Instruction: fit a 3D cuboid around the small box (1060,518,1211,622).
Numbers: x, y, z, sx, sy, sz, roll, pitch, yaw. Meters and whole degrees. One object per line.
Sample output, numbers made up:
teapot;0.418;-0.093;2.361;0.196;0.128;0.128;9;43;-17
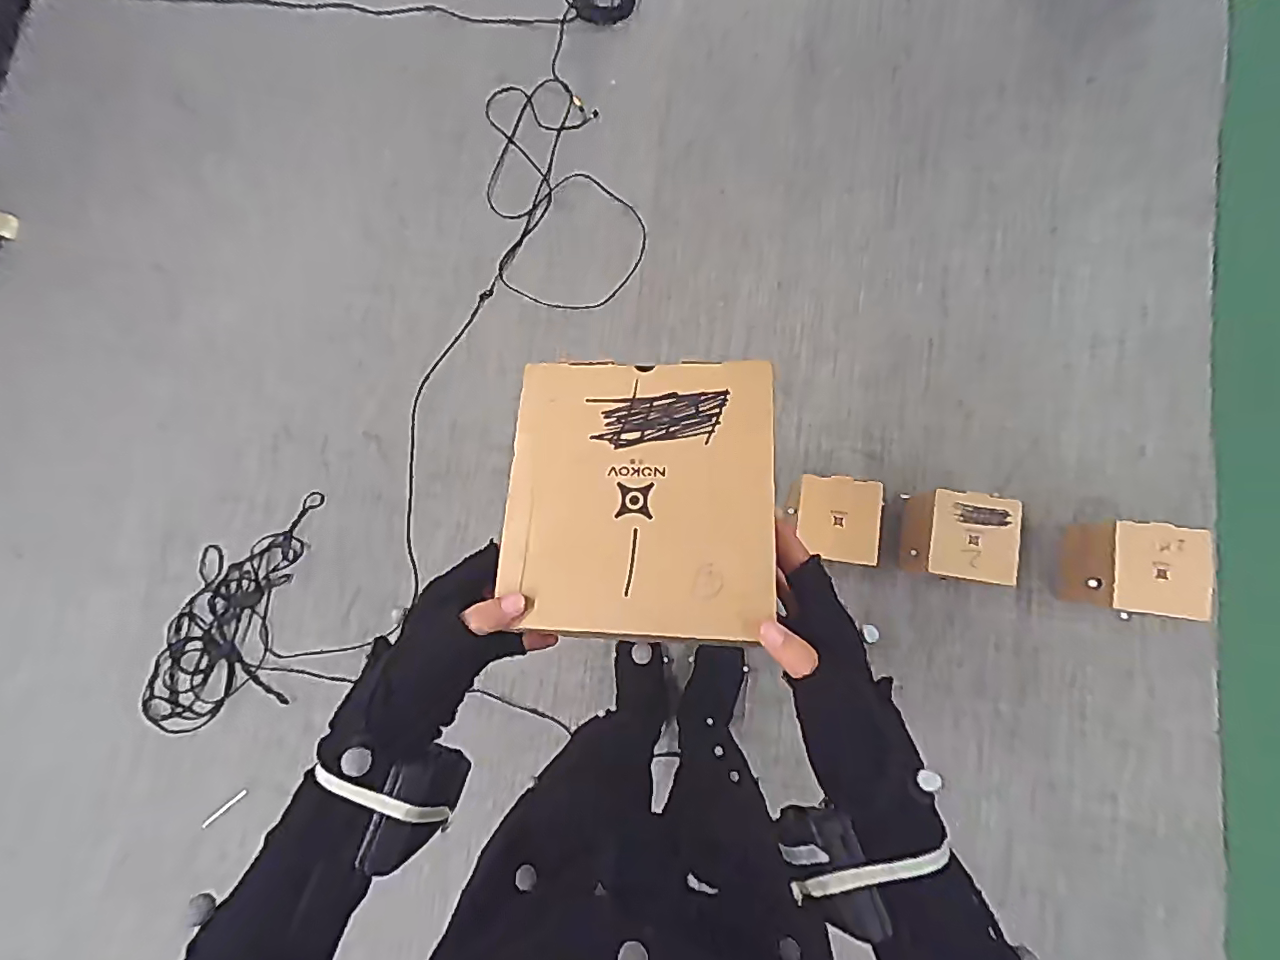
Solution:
small box;0.997;0.180;1.104;0.168;0.176;0.179;7;82;8

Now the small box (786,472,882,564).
small box;0.422;0.089;1.198;0.168;0.176;0.179;7;81;9
